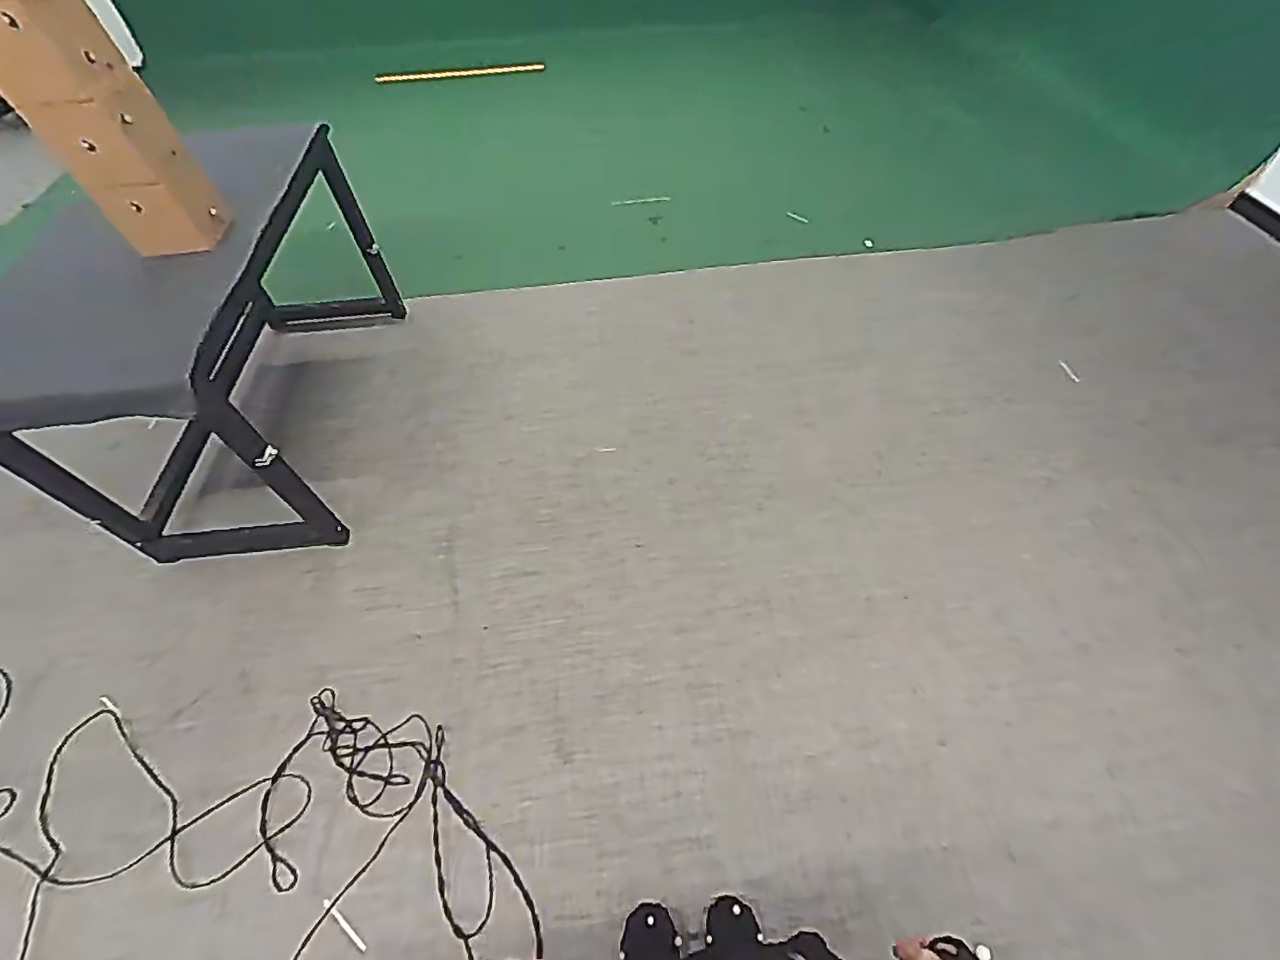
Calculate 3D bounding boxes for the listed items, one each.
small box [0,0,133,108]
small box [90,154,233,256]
[{"bbox_3d":[-1.193,-0.867,1.076,0.179,0.176,0.168,-4,54,0],"label":"small box"},{"bbox_3d":[-1.171,-0.676,1.340,0.179,0.176,0.168,-7,55,-3],"label":"small box"}]
